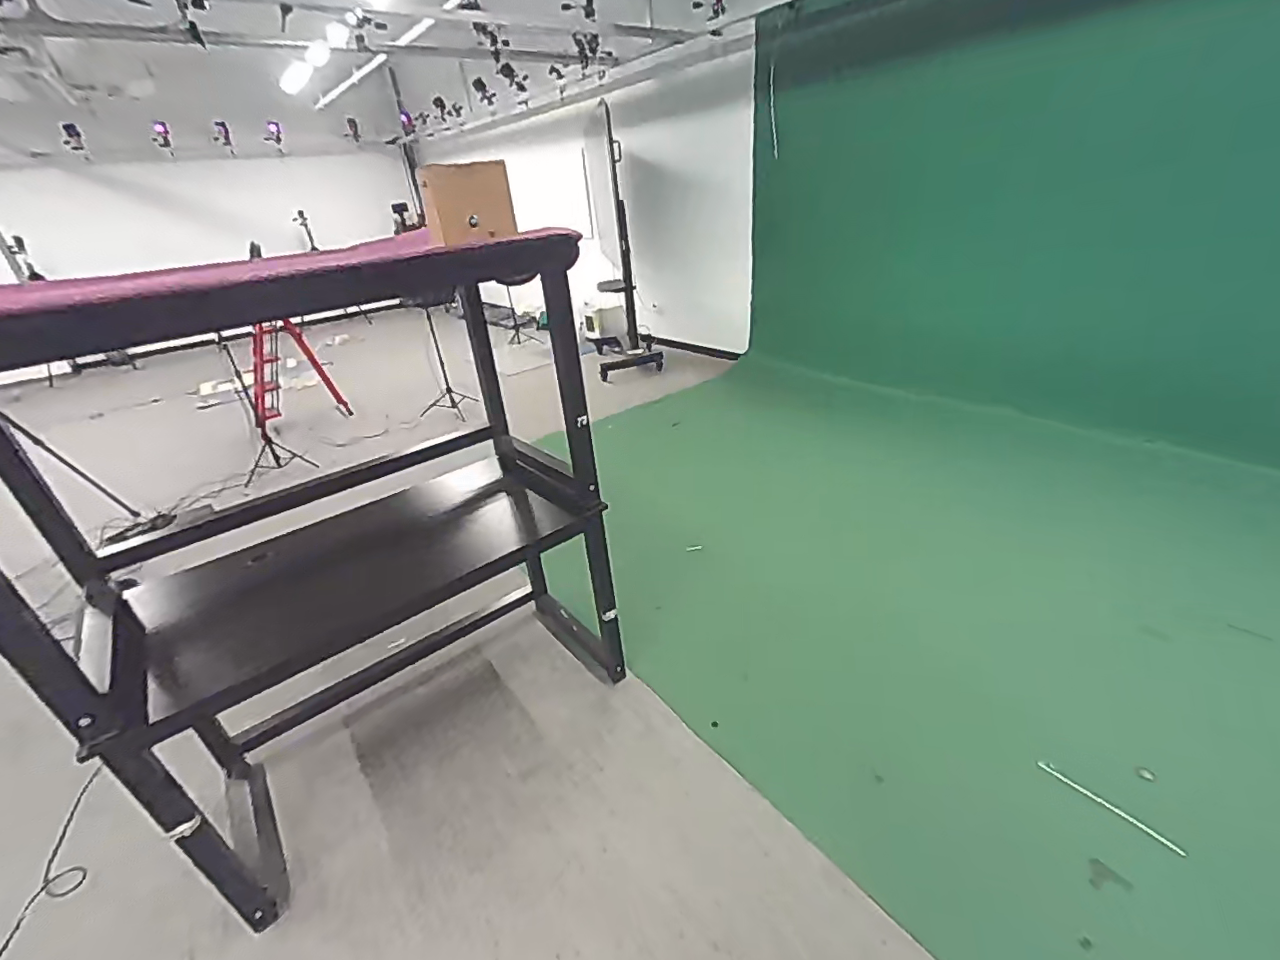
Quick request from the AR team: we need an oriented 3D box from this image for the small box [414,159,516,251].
[{"bbox_3d":[-0.393,-0.616,1.217,0.168,0.176,0.179,-19,33,-23],"label":"small box"}]
